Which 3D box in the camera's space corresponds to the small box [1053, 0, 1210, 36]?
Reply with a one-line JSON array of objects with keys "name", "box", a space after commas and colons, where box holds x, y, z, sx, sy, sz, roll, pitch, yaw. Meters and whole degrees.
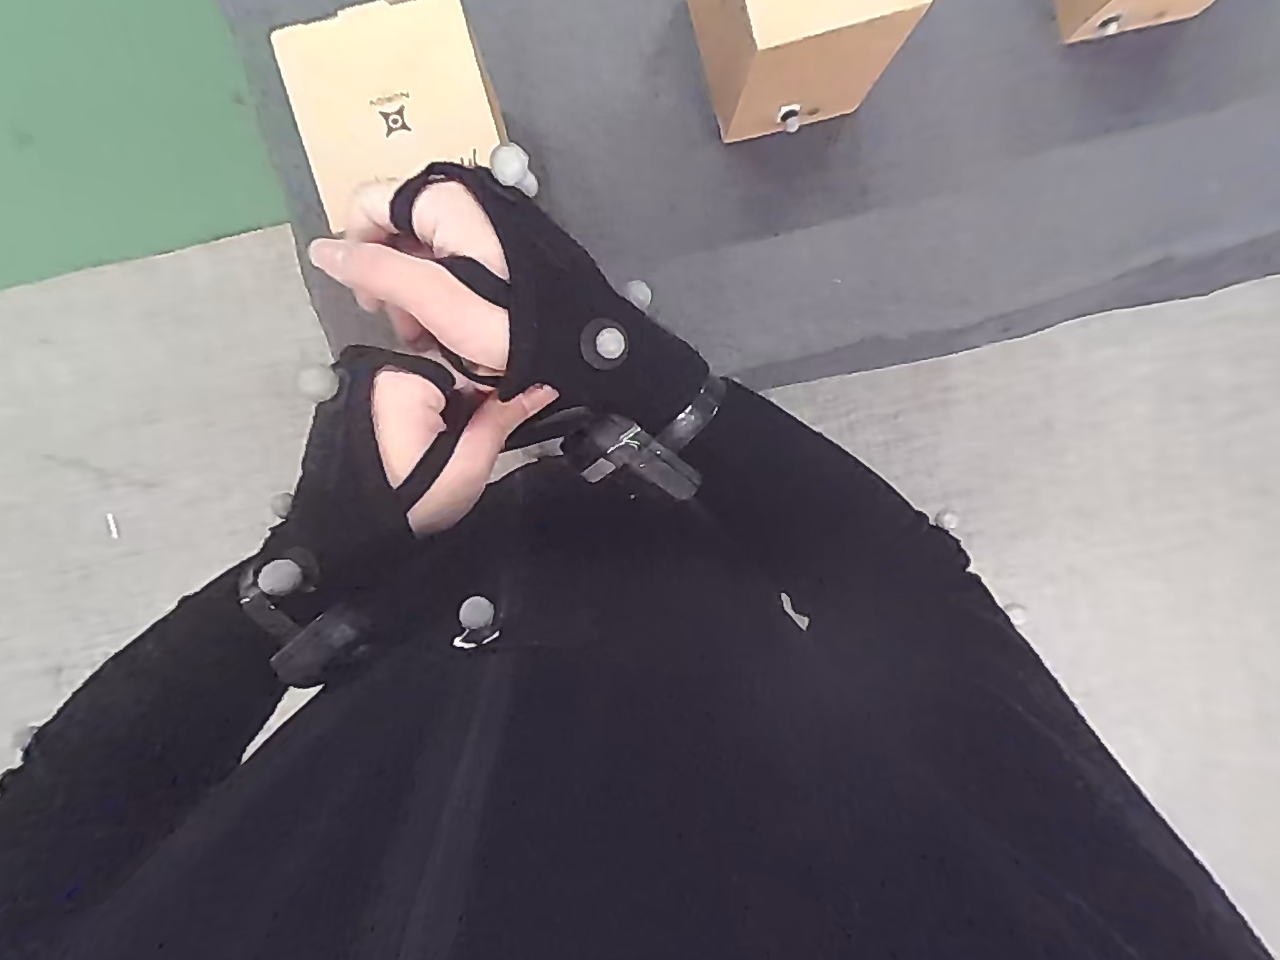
[{"name": "small box", "box": [0.560, -0.606, 0.557, 0.168, 0.176, 0.179, -13, 94, -1]}]

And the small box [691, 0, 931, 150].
[{"name": "small box", "box": [0.157, -0.485, 0.554, 0.168, 0.176, 0.179, -16, 96, 0]}]

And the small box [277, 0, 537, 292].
[{"name": "small box", "box": [-0.215, -0.317, 0.548, 0.168, 0.176, 0.179, -16, 94, -1]}]
